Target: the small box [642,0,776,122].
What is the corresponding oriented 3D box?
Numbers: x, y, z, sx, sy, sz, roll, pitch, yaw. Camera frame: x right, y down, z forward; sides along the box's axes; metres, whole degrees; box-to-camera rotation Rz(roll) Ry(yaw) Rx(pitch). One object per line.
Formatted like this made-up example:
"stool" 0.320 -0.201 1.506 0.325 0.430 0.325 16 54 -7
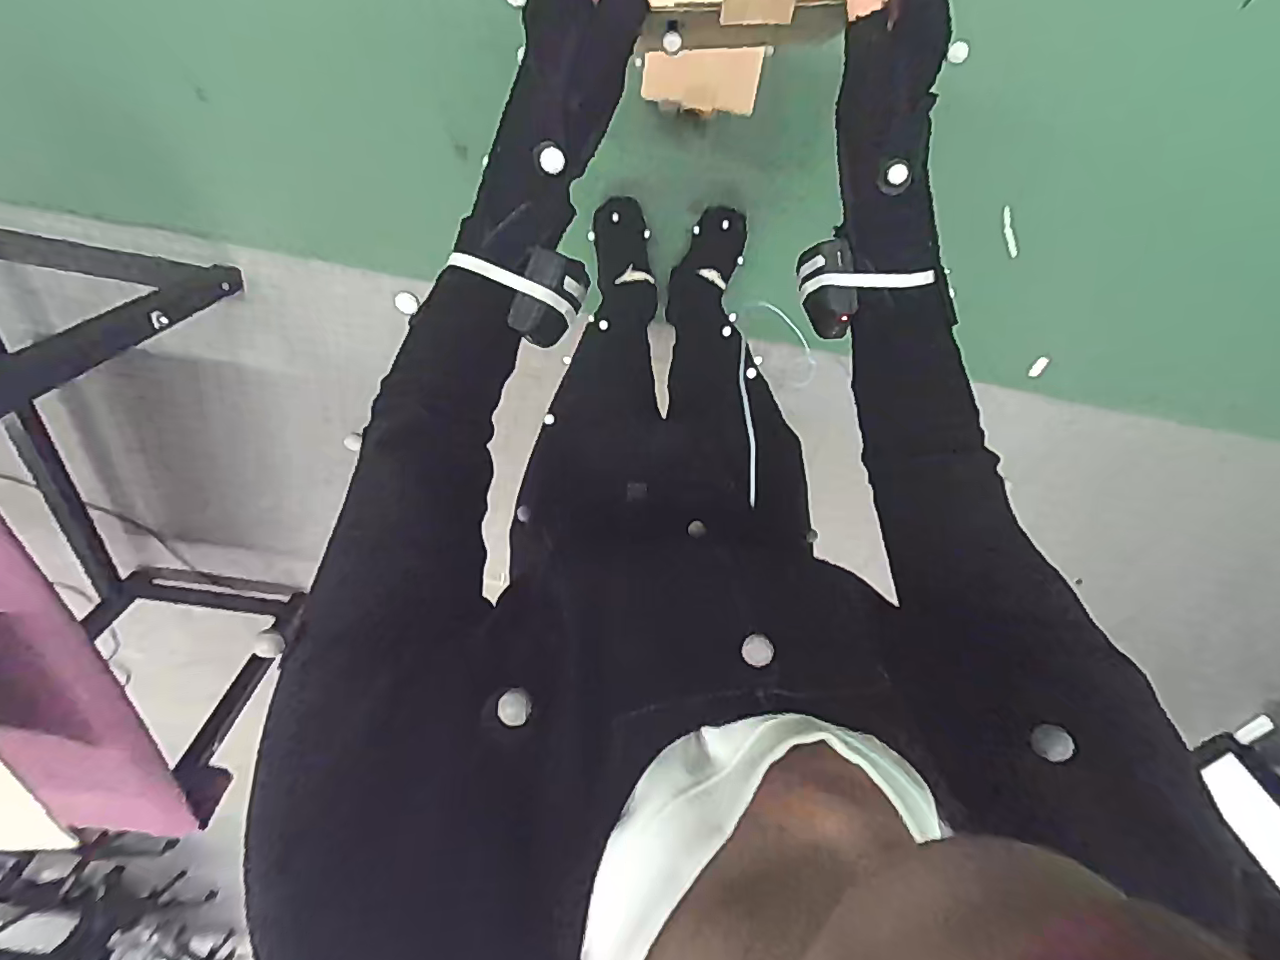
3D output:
"small box" 0.094 -0.659 0.814 0.168 0.176 0.179 6 126 -4
